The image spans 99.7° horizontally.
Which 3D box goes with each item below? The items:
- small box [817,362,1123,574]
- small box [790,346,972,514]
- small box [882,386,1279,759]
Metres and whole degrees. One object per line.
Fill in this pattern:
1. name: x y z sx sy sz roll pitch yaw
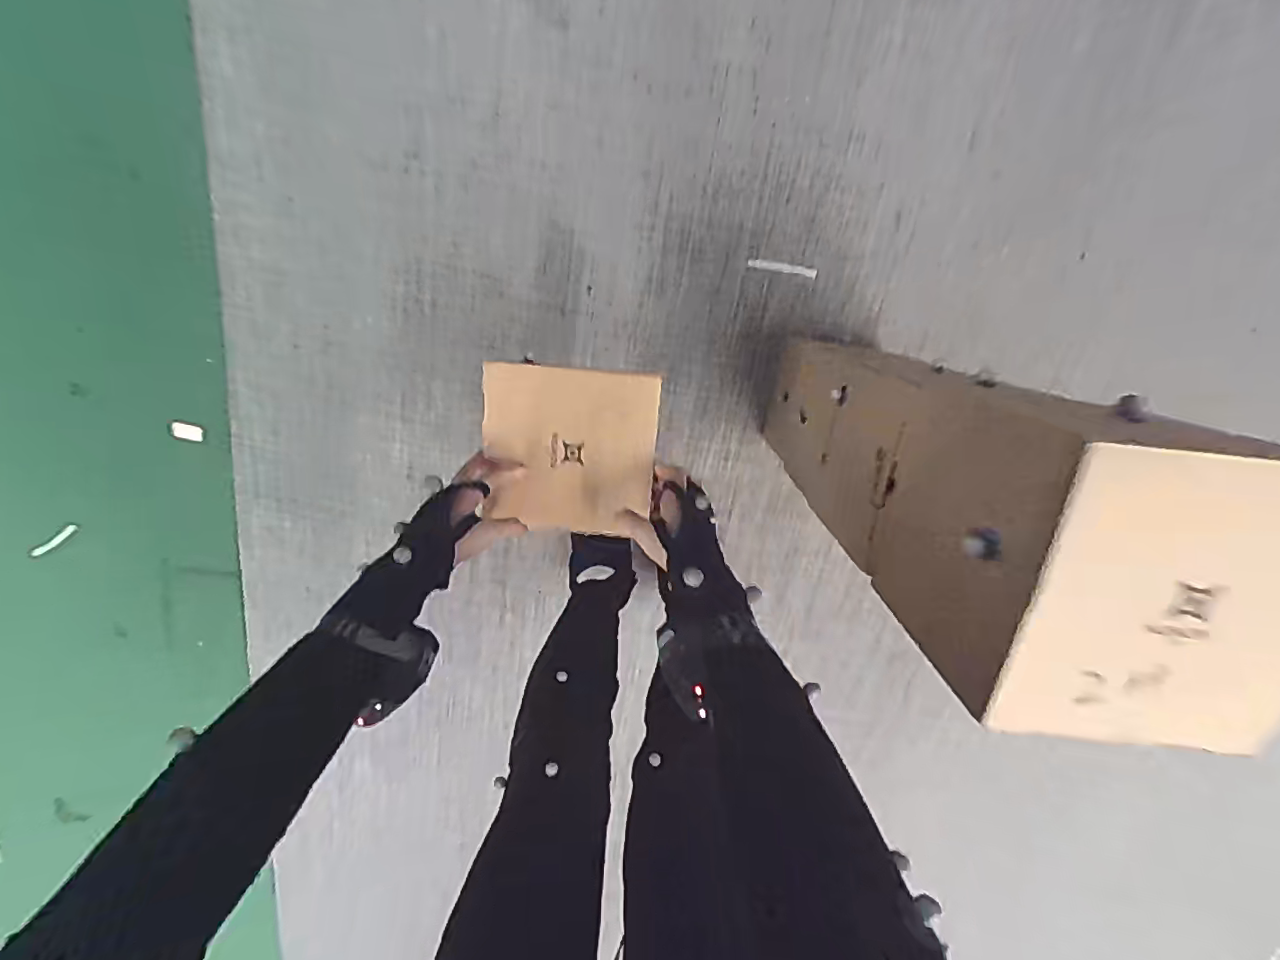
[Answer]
1. small box: 0.285 -0.013 0.507 0.179 0.176 0.168 7 109 -2
2. small box: 0.295 -0.060 0.666 0.168 0.176 0.179 7 110 -2
3. small box: 0.284 0.042 0.352 0.168 0.176 0.179 7 109 -1
